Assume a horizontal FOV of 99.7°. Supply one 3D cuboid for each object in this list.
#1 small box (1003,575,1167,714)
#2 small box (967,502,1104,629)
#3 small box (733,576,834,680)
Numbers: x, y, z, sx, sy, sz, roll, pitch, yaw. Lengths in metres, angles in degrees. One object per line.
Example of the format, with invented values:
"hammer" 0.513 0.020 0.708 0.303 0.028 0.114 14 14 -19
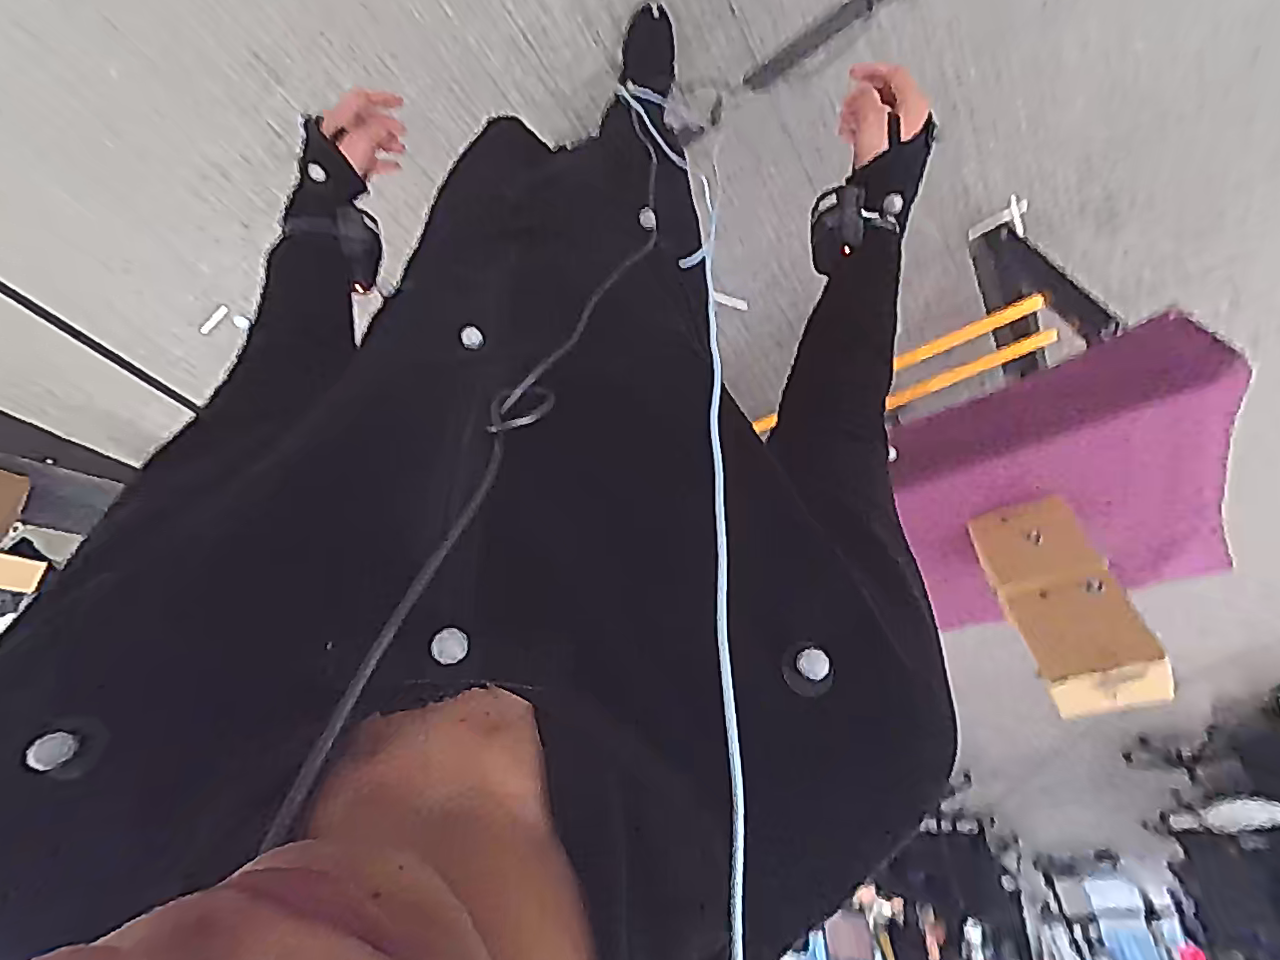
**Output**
"small box" 0.779 0.286 0.957 0.168 0.176 0.179 -26 130 27
"small box" 0.774 0.163 1.067 0.168 0.176 0.179 -22 131 24
"small box" 0.332 0.344 1.275 0.168 0.176 0.179 -23 131 23
